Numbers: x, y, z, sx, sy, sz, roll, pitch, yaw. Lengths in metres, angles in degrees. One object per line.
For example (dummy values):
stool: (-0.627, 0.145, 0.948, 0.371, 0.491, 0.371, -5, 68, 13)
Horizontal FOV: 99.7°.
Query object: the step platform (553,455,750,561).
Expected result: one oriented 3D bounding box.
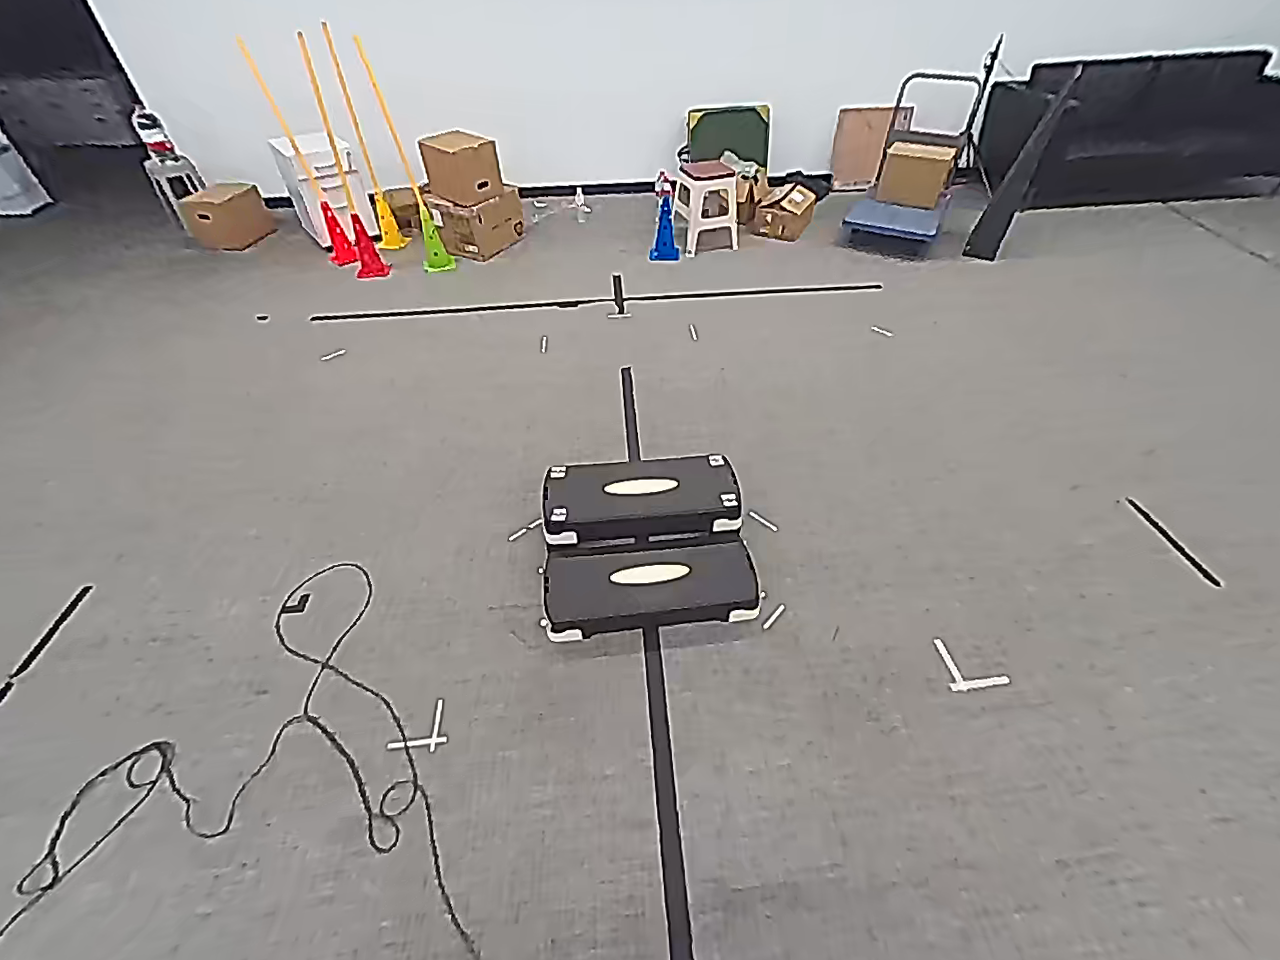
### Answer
step platform: (0.036, 0.088, 1.907, 0.684, 0.204, 0.286, -5, 45, -5)
